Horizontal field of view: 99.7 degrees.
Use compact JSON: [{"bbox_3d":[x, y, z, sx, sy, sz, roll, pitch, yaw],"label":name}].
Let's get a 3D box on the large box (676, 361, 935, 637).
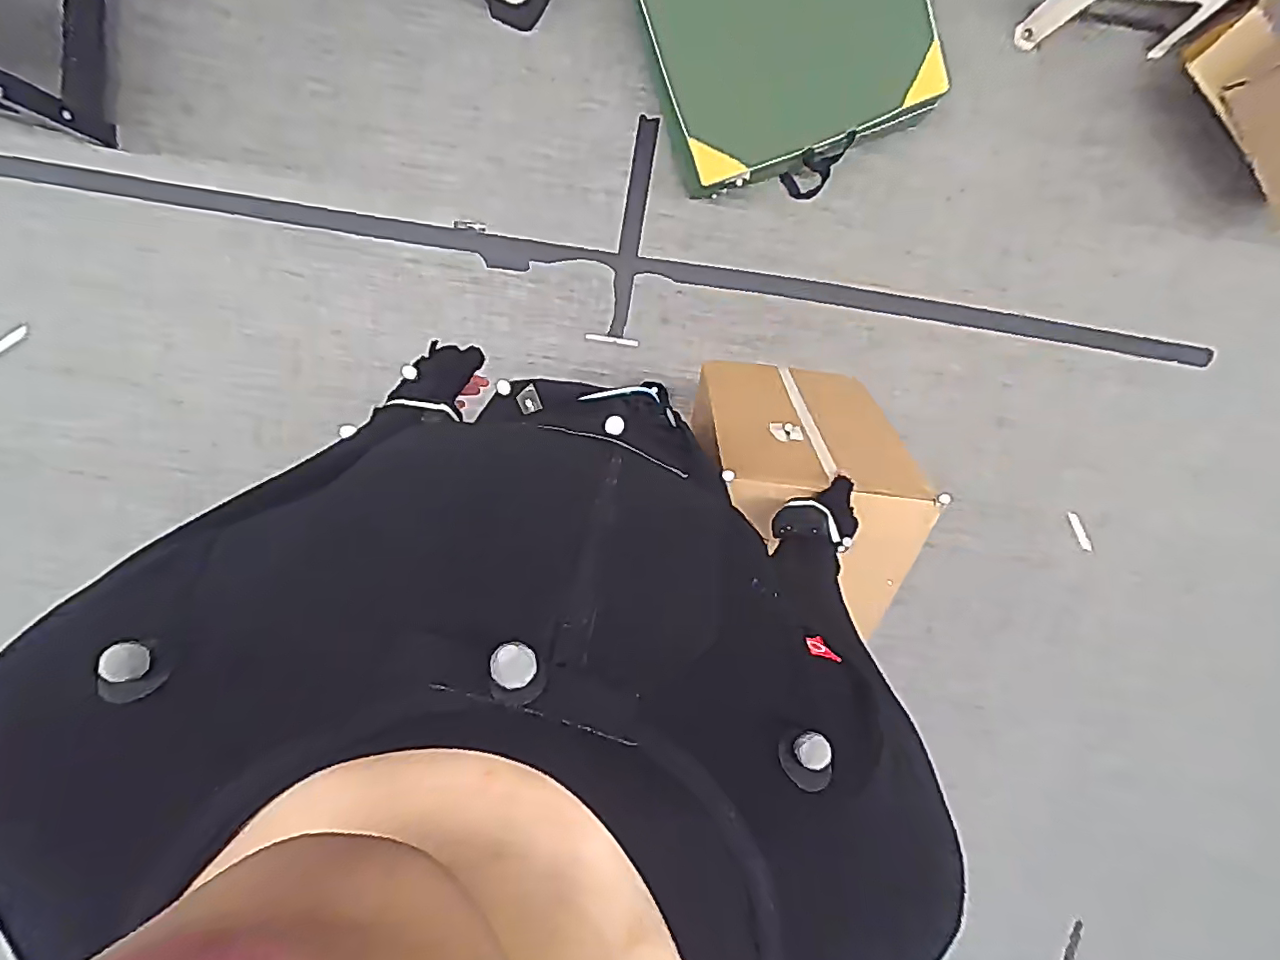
[{"bbox_3d":[0.248,0.021,0.994,0.320,0.408,0.320,5,127,-2],"label":"large box"}]
